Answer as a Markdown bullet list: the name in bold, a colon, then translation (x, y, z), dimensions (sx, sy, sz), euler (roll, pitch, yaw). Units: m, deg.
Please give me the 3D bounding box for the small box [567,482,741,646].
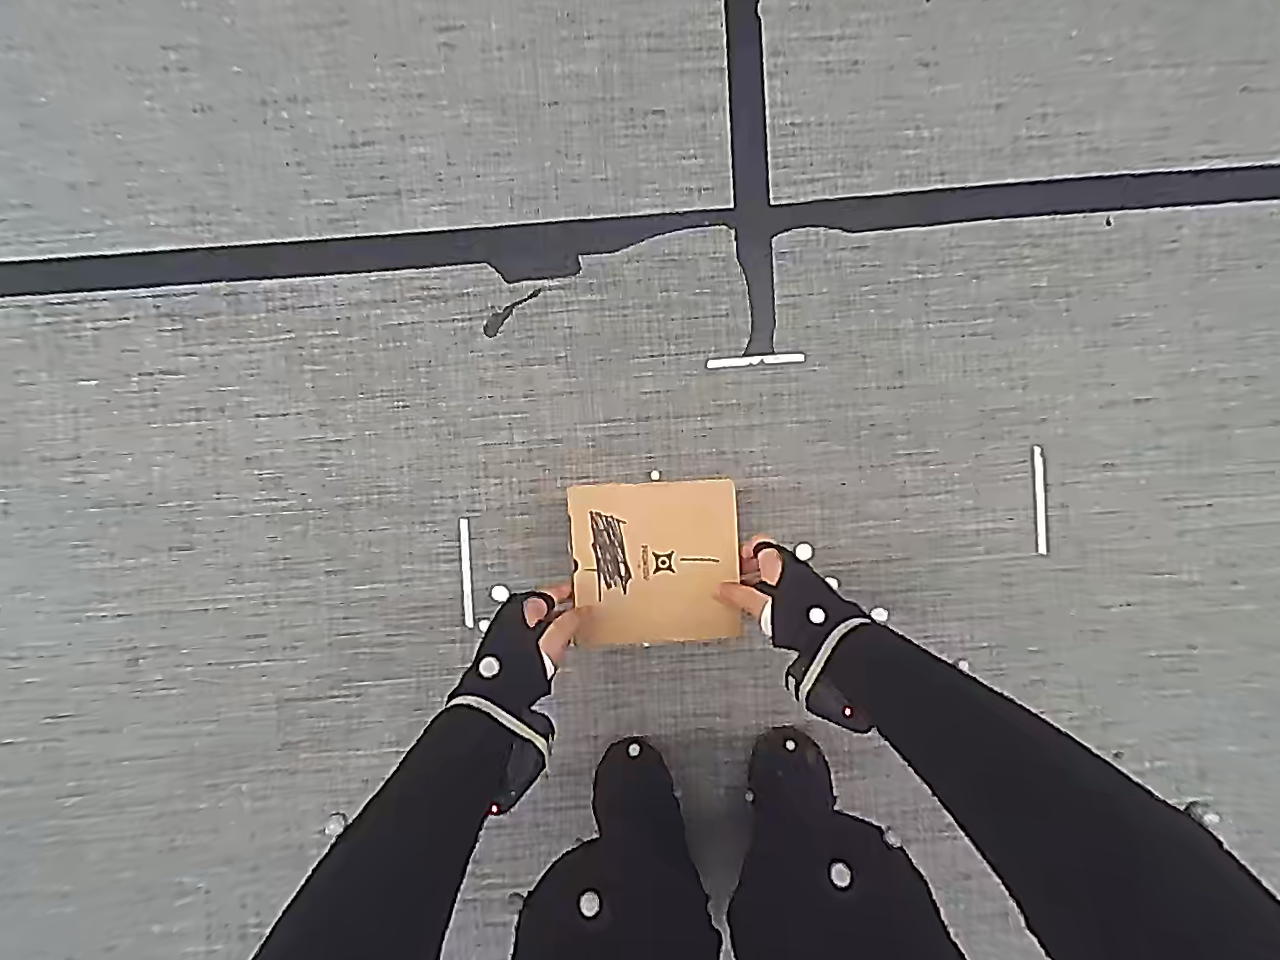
- **small box**: translation (0.013, 0.091, 0.635), dimensions (0.179, 0.176, 0.168), euler (-3, 88, -2)
